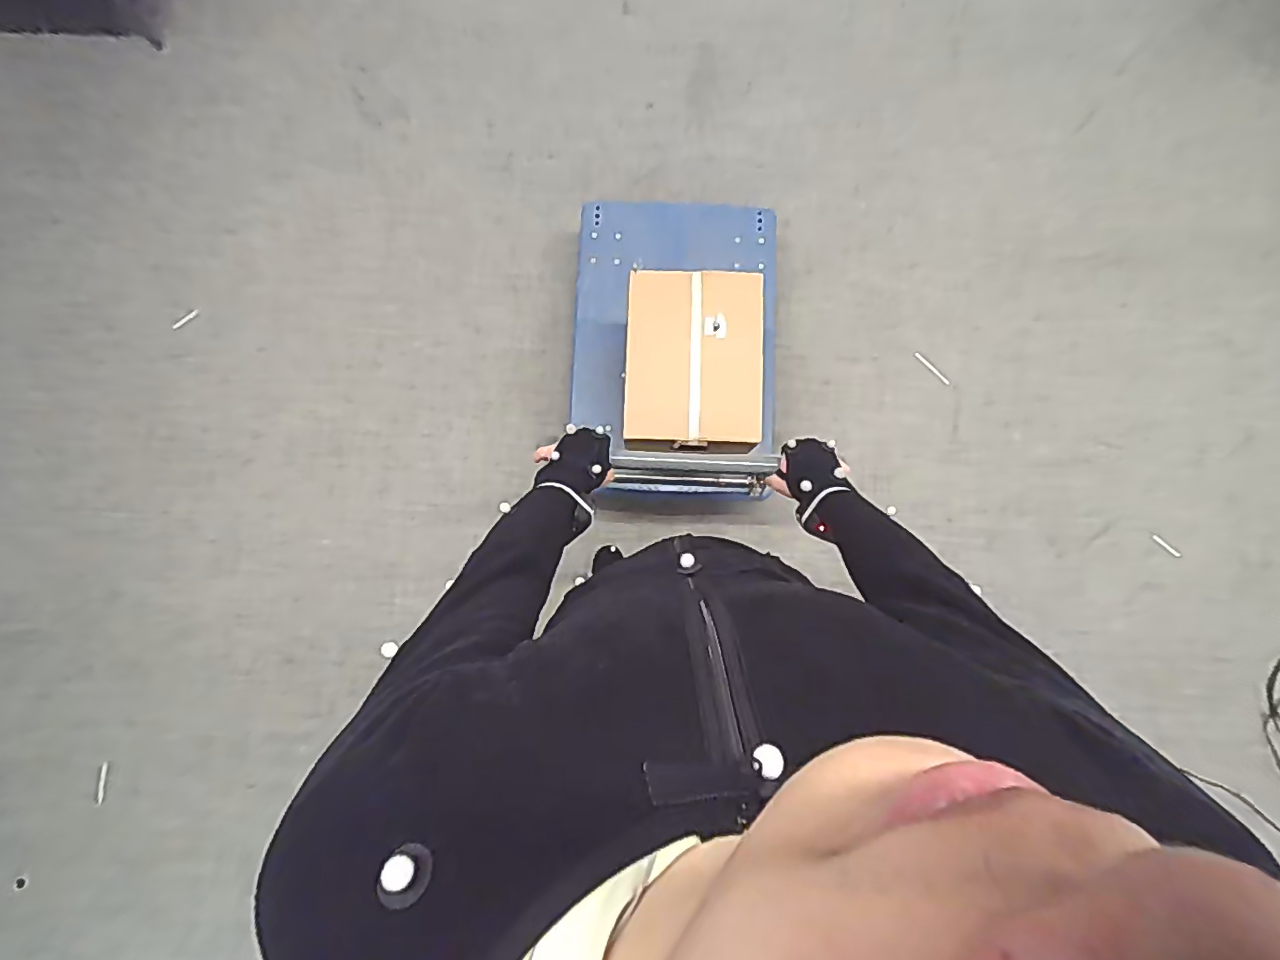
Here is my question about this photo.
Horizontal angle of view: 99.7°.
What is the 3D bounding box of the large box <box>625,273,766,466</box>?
[{"bbox_3d":[0.128,-0.255,1.365,0.320,0.320,0.408,2,82,0],"label":"large box"}]
